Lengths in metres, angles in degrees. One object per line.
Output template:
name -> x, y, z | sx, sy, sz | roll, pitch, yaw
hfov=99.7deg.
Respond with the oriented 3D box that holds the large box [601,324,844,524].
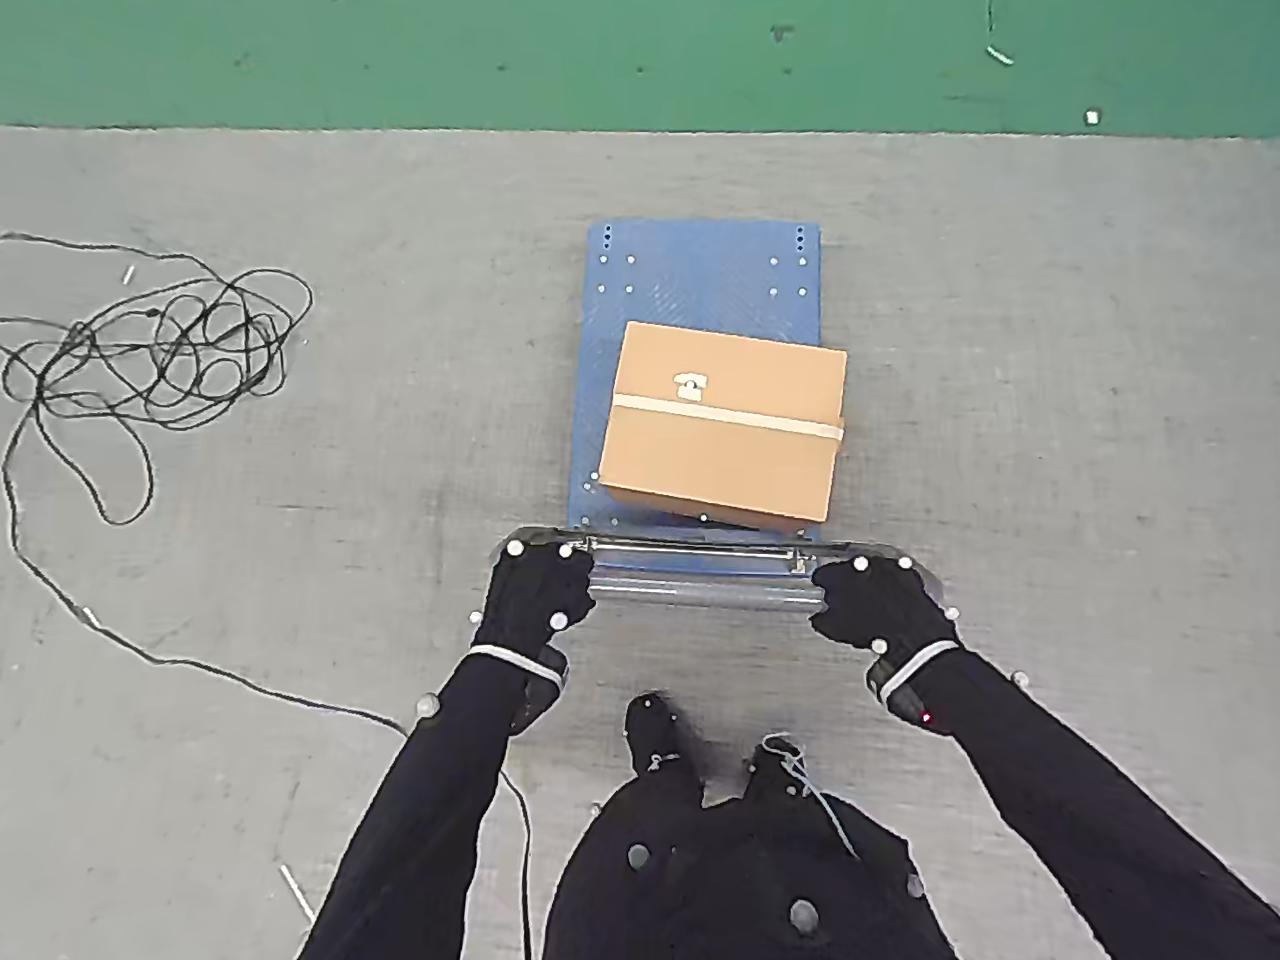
large box -> 0.163, -0.093, 1.107 | 0.408, 0.320, 0.320 | 9, 82, 7
